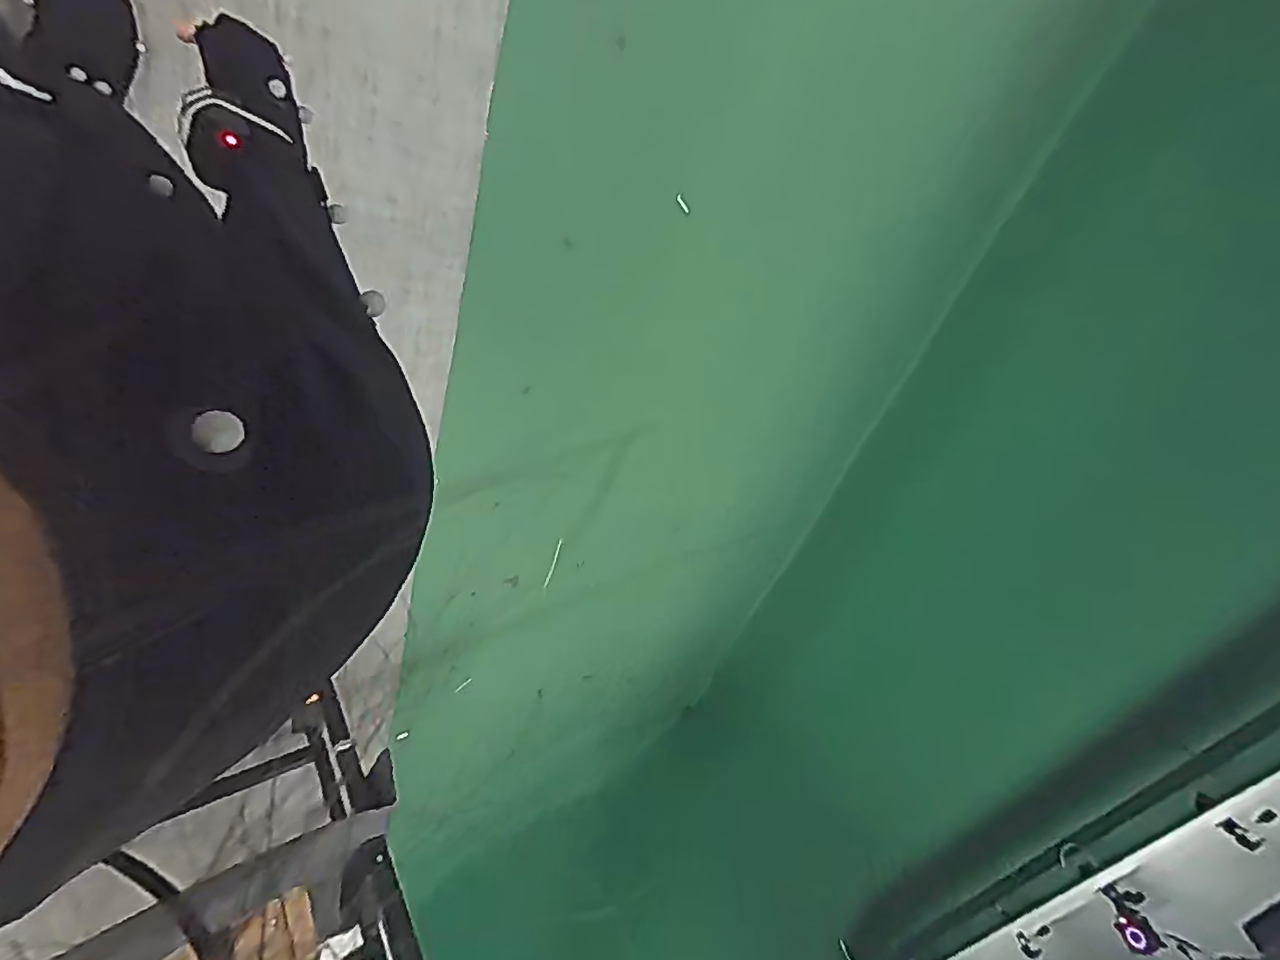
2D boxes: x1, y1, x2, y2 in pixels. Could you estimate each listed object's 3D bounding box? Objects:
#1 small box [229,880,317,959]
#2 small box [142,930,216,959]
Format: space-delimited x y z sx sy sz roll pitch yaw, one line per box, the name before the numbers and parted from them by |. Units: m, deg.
small box | -0.965 1.208 1.424 0.168 0.176 0.179 -12 135 -39
small box | -1.122 1.239 1.298 0.168 0.176 0.179 -12 135 -40
